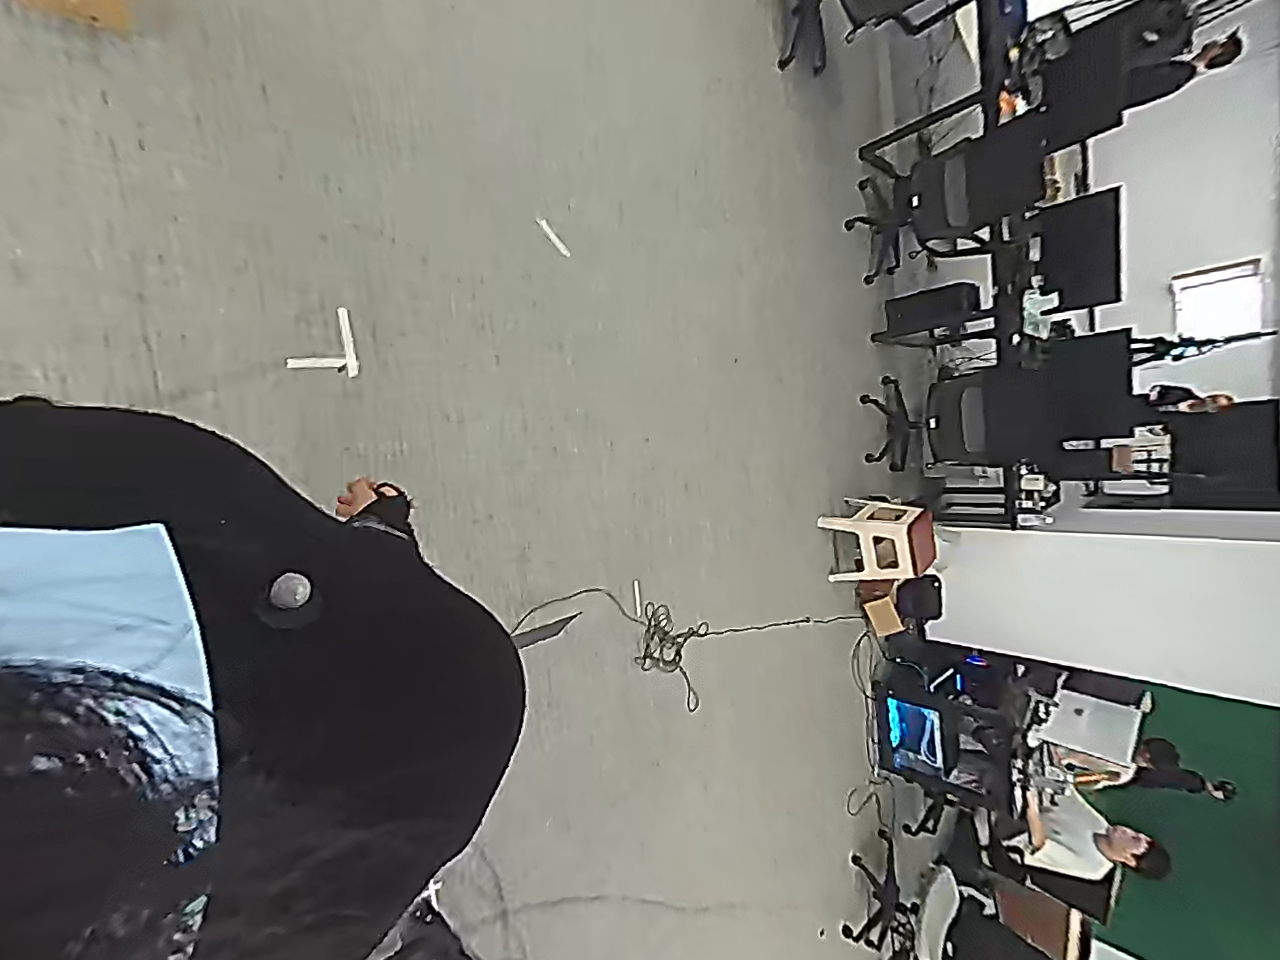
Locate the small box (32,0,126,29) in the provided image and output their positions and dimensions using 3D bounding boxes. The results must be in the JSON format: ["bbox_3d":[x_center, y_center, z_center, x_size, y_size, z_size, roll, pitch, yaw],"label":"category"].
[{"bbox_3d":[-1.073,-0.994,0.994,0.168,0.176,0.179,-12,97,-43],"label":"small box"}]
